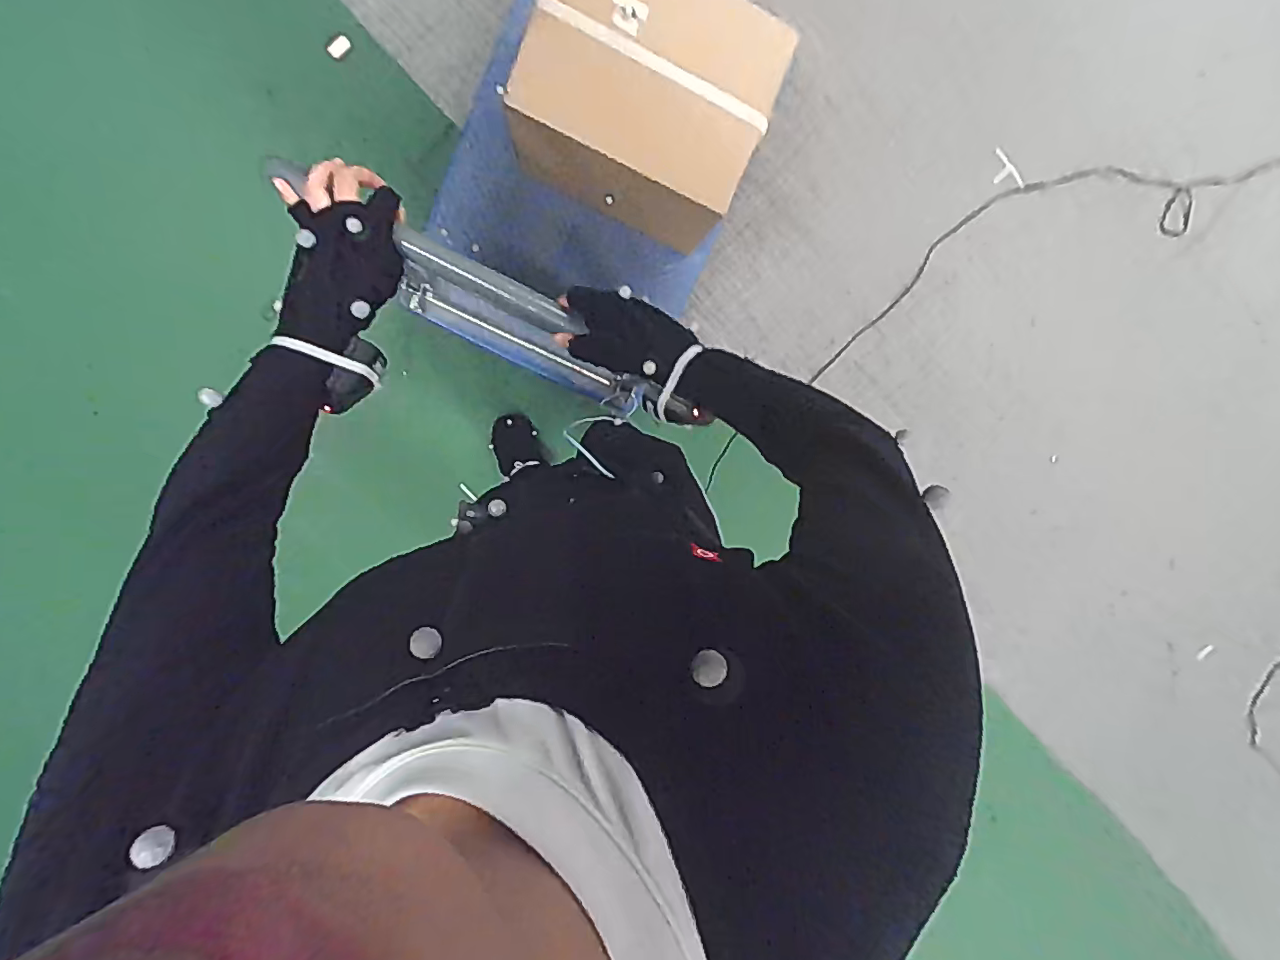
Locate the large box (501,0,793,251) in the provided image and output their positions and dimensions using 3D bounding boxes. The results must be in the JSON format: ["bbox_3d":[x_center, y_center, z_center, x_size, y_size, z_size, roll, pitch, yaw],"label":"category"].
[{"bbox_3d":[0.003,-0.693,1.023,0.408,0.320,0.320,23,97,-9],"label":"large box"}]
